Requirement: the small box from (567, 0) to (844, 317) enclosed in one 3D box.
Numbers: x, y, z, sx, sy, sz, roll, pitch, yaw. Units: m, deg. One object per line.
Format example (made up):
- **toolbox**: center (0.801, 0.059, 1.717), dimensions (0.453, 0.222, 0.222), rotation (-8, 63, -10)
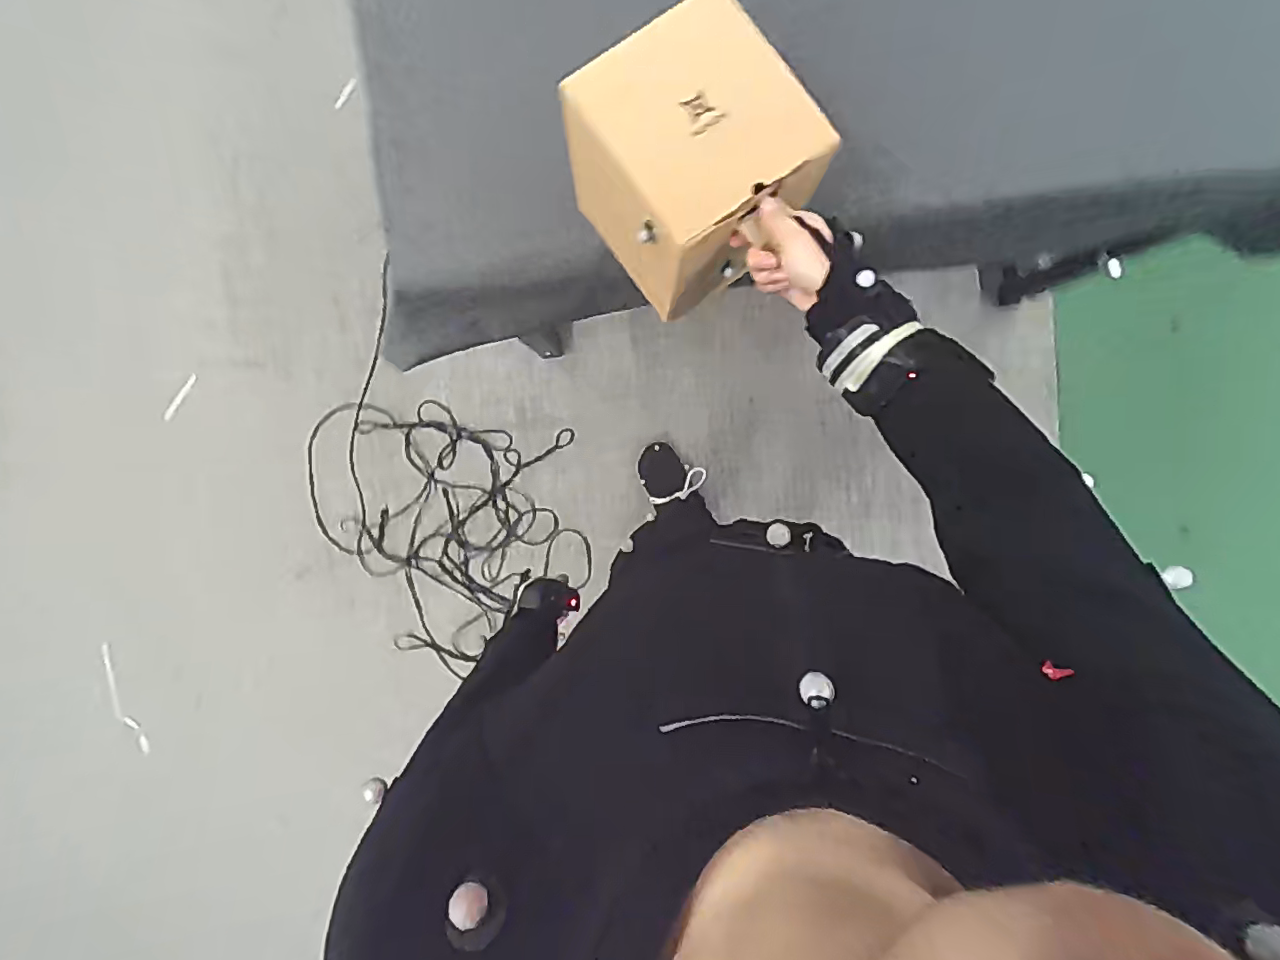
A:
- **small box**: center (0.051, -0.294, 0.522), dimensions (0.168, 0.176, 0.179), rotation (-37, 87, -3)
